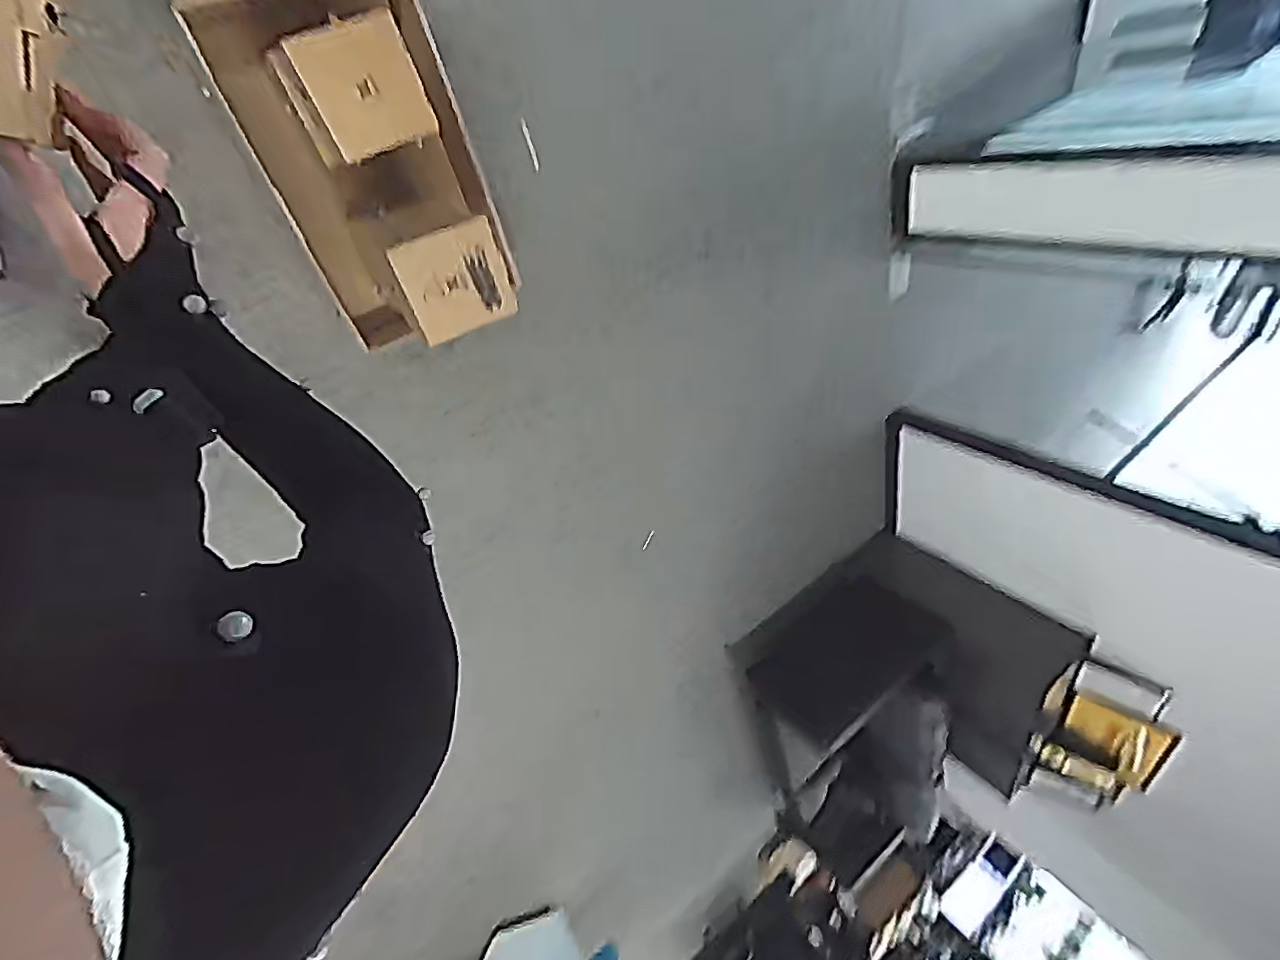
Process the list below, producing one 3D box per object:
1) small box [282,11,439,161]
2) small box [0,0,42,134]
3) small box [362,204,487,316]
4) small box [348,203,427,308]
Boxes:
[{"bbox_3d":[-0.484,-0.669,0.935,0.179,0.176,0.168,-34,130,-17],"label":"small box"},{"bbox_3d":[-0.467,-0.316,0.297,0.179,0.176,0.168,-1,115,-41],"label":"small box"},{"bbox_3d":[-0.438,-0.448,1.089,0.179,0.176,0.168,-28,128,-21],"label":"small box"},{"bbox_3d":[-0.527,-0.508,1.211,0.168,0.176,0.179,-28,127,-22],"label":"small box"}]
